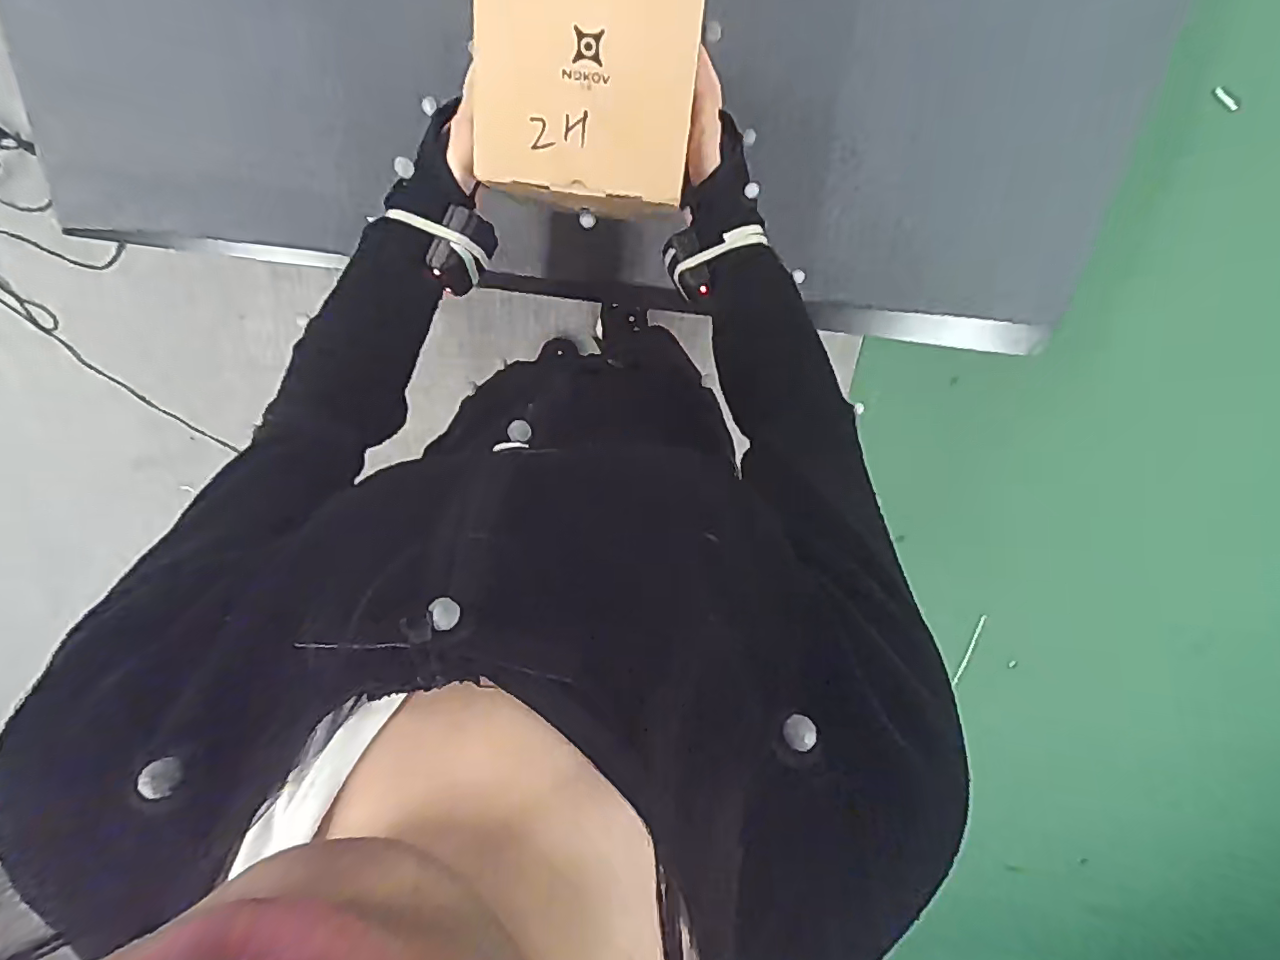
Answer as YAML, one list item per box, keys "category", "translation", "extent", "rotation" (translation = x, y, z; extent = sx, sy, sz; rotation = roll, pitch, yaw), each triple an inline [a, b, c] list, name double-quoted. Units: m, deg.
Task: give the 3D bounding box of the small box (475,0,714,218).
- category: "small box"
  translation: [-0.036, -0.340, 0.463]
  extent: [0.168, 0.176, 0.179]
  rotation: [6, 109, -3]
